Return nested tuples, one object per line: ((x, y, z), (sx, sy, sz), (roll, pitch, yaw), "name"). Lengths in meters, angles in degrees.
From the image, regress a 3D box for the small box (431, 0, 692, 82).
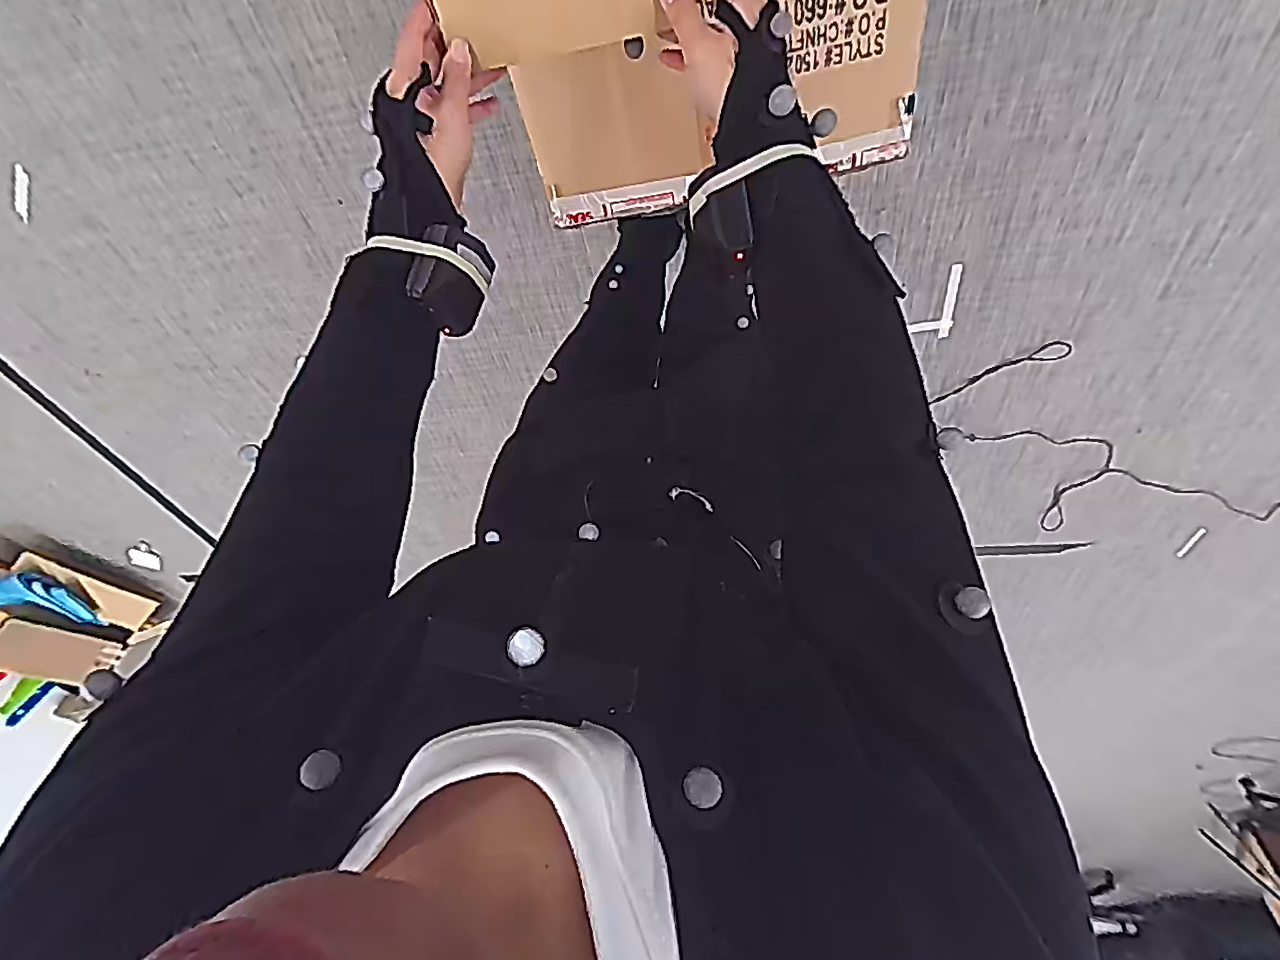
((-0.057, -0.414, 0.382), (0.179, 0.176, 0.168), (-3, 137, 11), "small box")
